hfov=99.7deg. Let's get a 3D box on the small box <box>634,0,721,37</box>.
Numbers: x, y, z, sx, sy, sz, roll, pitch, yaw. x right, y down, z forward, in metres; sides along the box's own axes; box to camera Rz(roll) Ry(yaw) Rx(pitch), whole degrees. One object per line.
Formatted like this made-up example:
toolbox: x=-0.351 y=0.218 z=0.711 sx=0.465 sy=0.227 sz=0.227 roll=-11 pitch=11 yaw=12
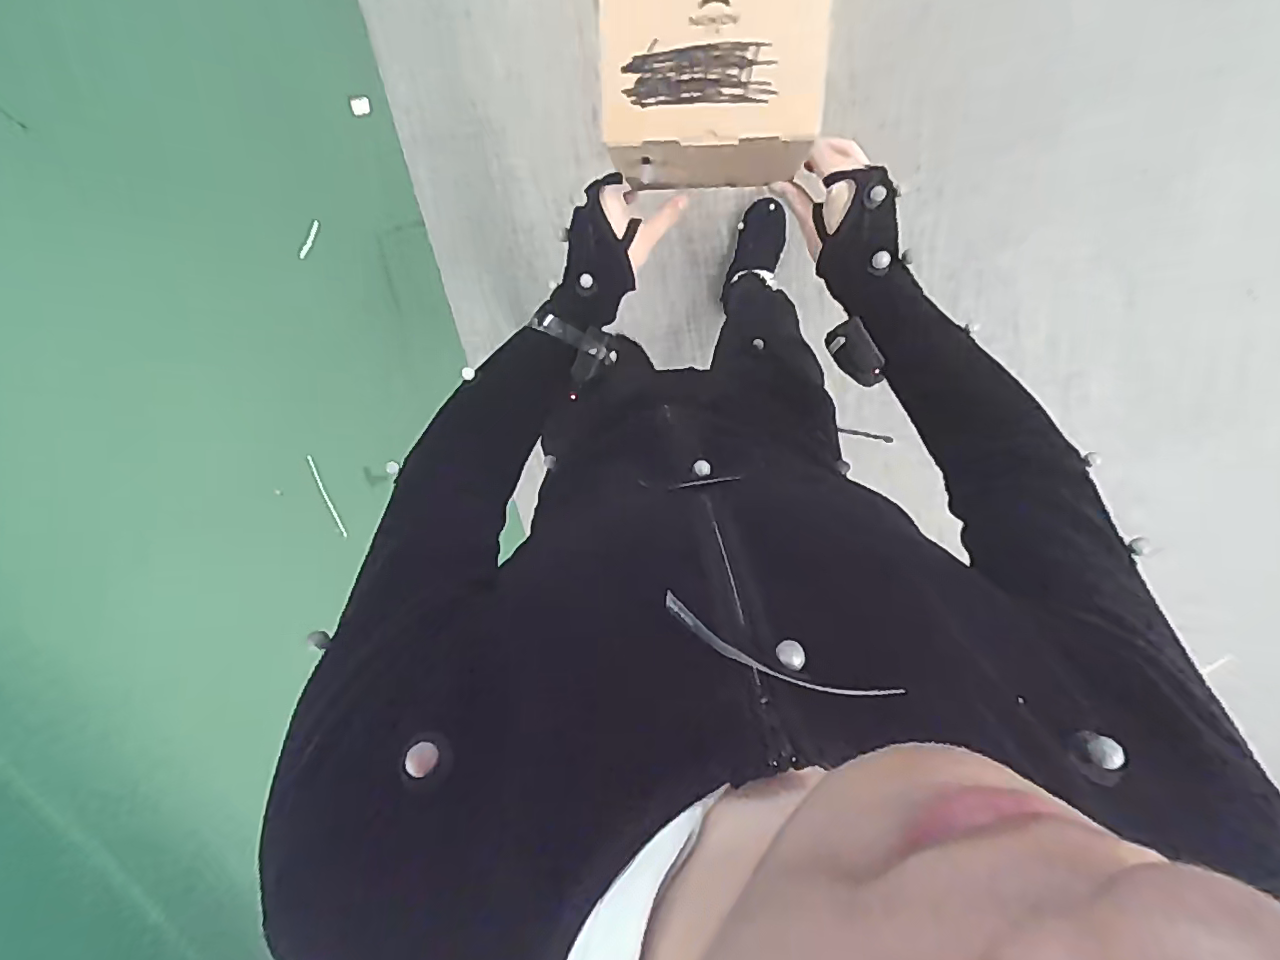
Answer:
small box: x=0.071 y=-1.043 z=1.101 sx=0.179 sy=0.176 sz=0.168 roll=-8 pitch=114 yaw=10
